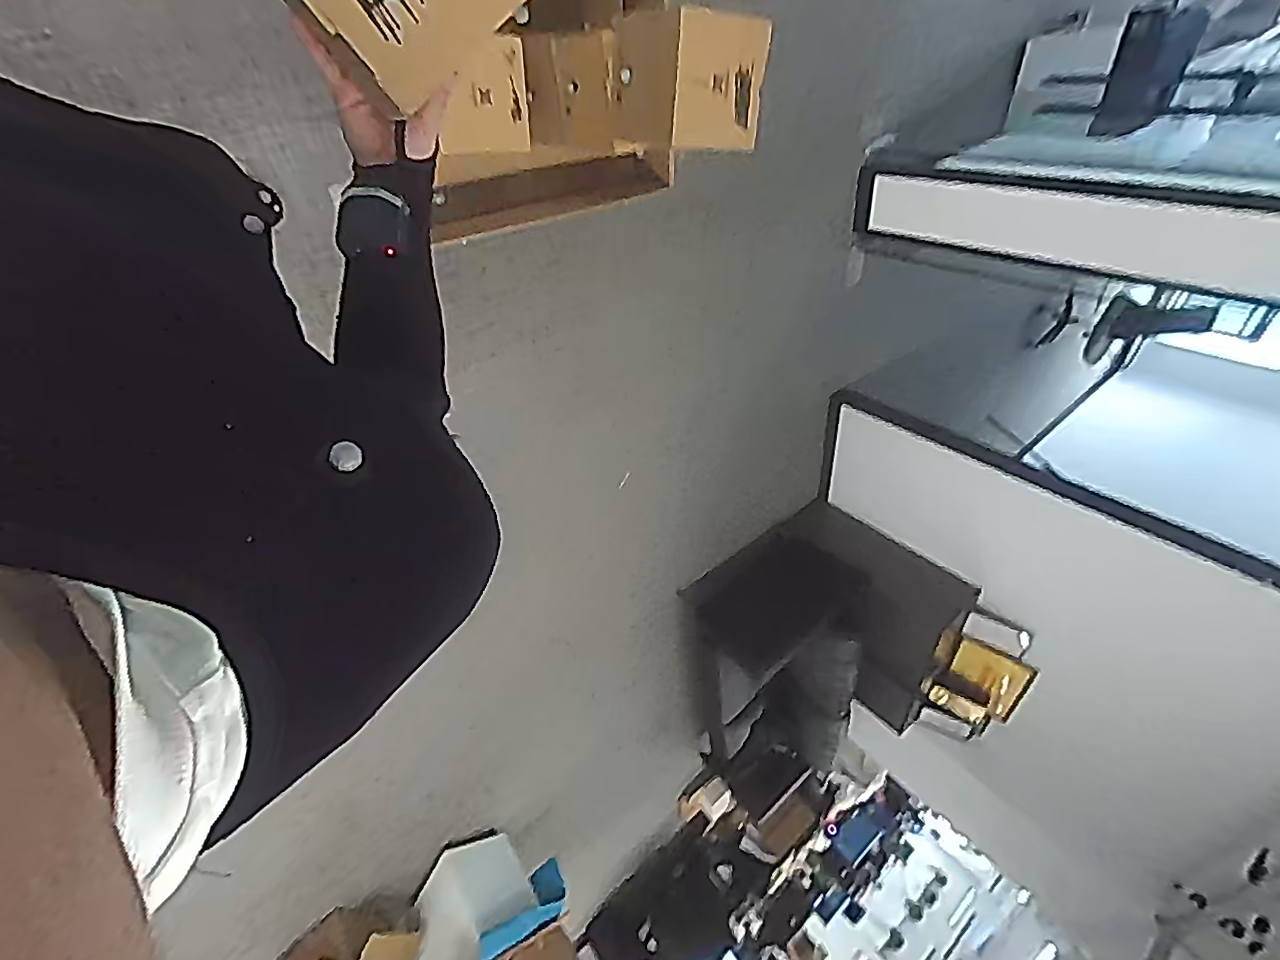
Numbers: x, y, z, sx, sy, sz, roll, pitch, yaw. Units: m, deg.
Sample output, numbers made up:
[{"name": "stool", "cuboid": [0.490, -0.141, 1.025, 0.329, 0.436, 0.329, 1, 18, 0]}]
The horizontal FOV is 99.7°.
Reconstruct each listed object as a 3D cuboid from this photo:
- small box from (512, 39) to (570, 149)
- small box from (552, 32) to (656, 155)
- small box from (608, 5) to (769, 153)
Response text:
[{"name": "small box", "cuboid": [-0.126, -0.766, 1.069, 0.179, 0.176, 0.168, -28, 132, -25]}, {"name": "small box", "cuboid": [-0.031, -0.691, 0.961, 0.179, 0.176, 0.168, -28, 134, -25]}, {"name": "small box", "cuboid": [0.070, -0.621, 0.852, 0.179, 0.176, 0.168, -19, 129, -30]}]
